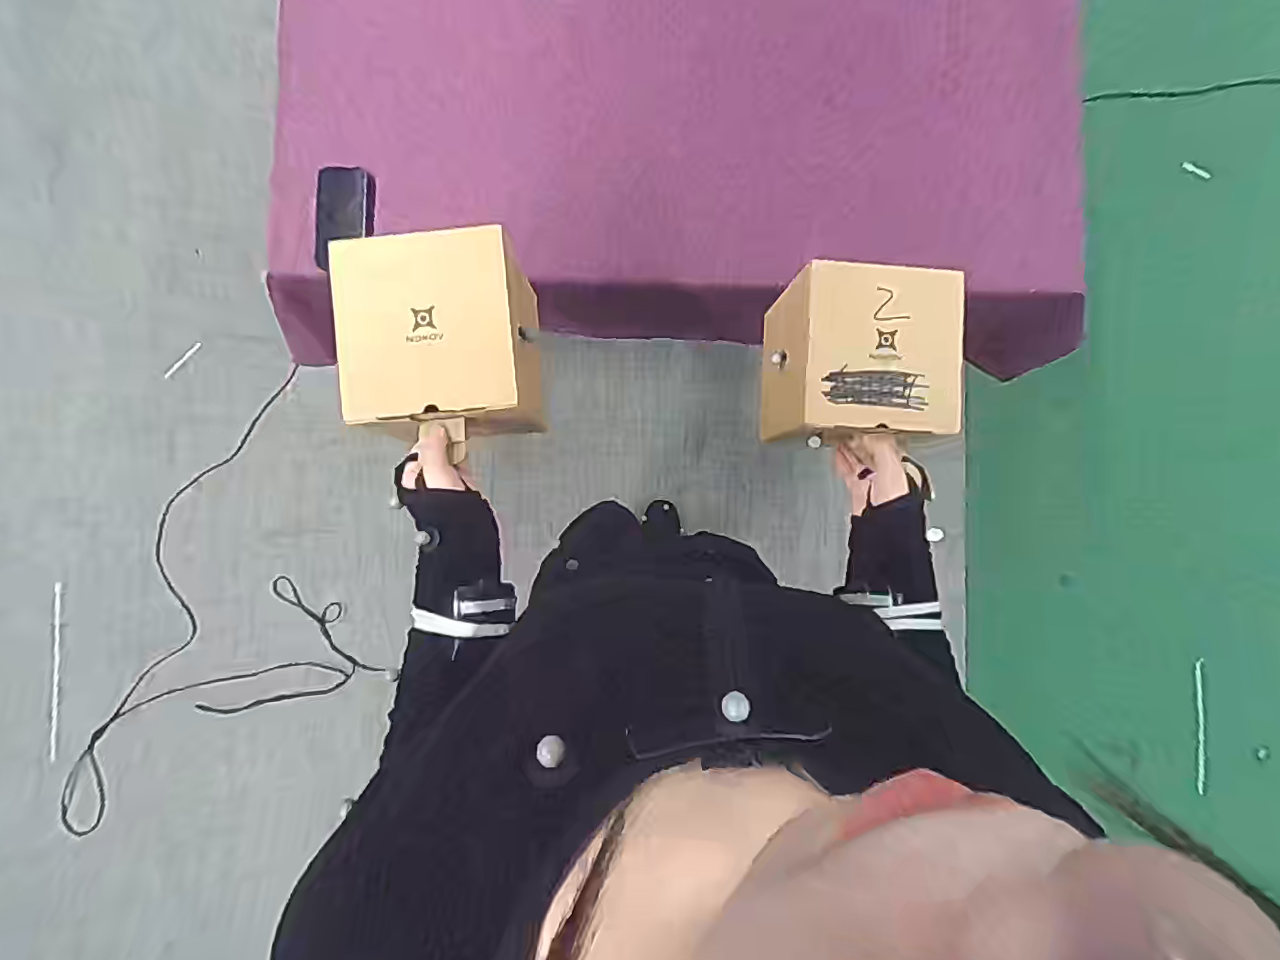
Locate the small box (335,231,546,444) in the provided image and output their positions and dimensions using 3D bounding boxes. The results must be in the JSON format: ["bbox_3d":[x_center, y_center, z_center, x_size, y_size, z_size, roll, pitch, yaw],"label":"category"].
[{"bbox_3d":[-0.200,-0.140,0.584,0.168,0.176,0.179,-6,88,-1],"label":"small box"}]
